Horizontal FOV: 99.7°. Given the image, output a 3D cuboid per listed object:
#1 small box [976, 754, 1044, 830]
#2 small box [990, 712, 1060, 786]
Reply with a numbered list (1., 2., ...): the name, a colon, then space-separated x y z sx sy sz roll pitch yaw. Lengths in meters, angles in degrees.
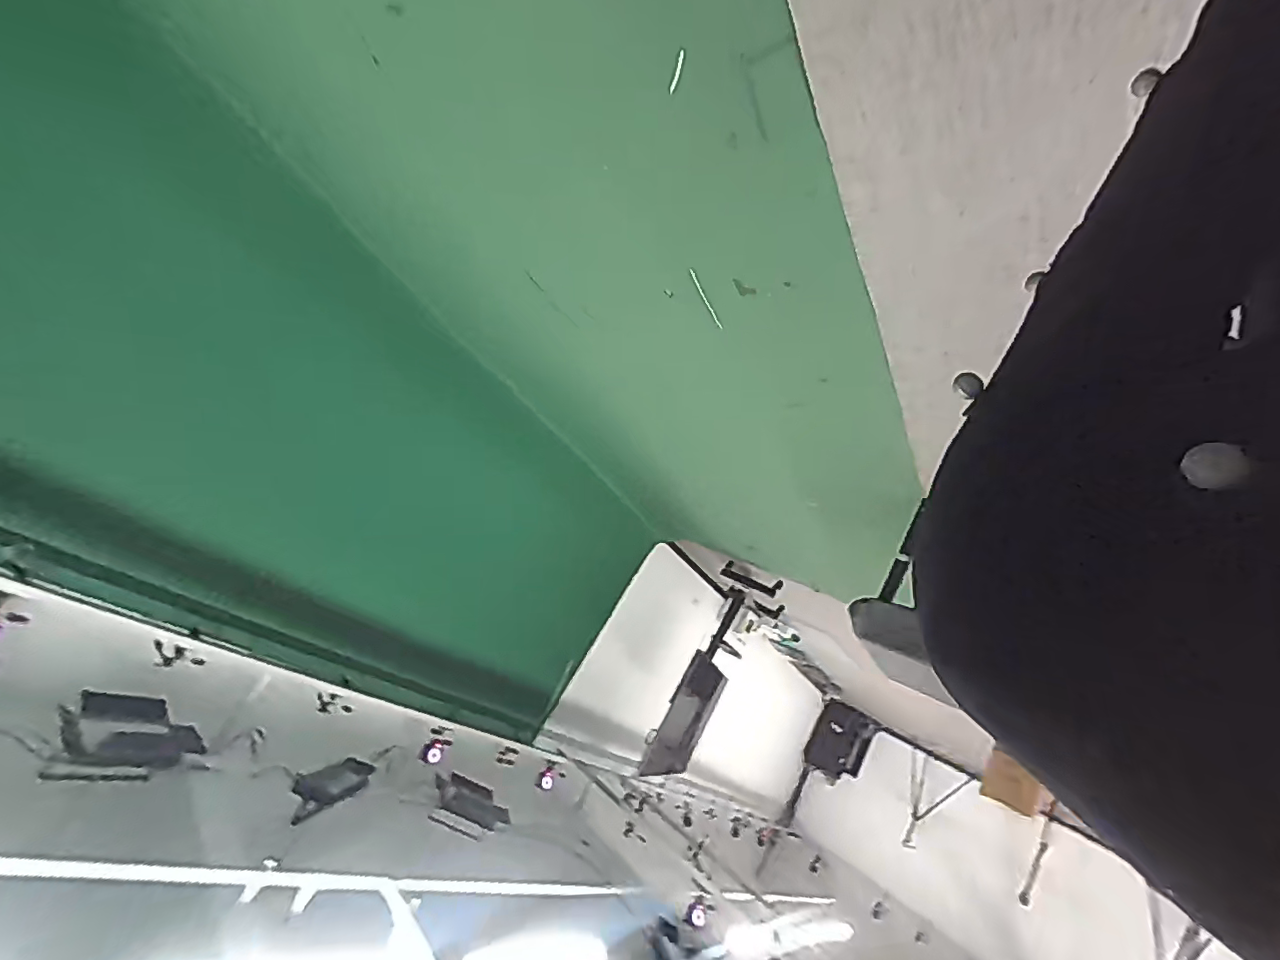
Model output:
1. small box: 1.341 1.122 1.956 0.168 0.176 0.179 17 157 45
2. small box: 1.430 0.993 2.003 0.179 0.176 0.168 18 158 45
